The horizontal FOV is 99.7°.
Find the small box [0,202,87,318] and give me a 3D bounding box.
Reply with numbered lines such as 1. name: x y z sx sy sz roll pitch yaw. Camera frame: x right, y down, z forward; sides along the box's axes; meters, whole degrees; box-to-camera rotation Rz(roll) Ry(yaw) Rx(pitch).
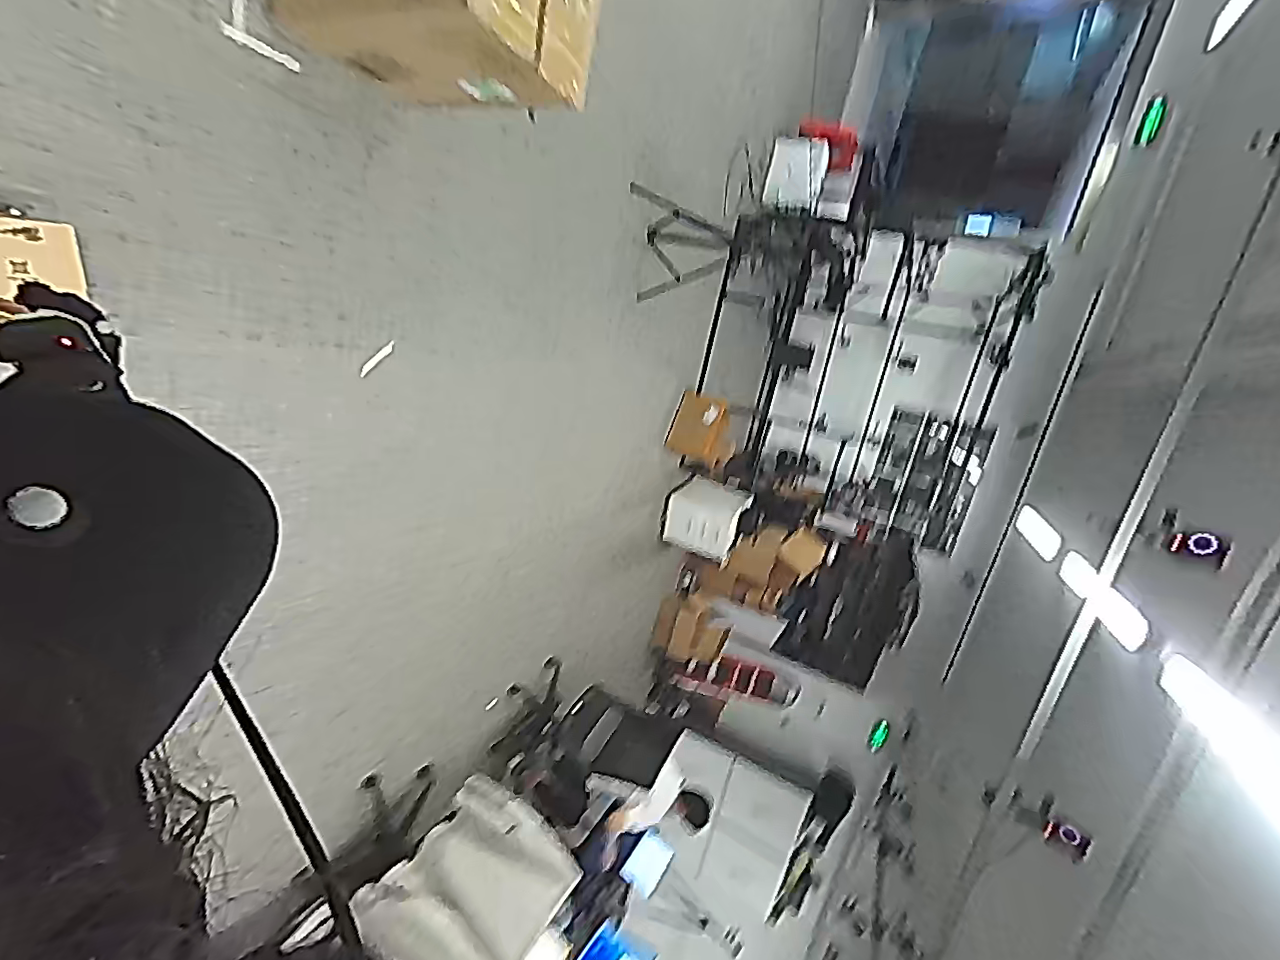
1. small box: -1.130 -0.391 0.948 0.168 0.176 0.179 -28 133 -58
